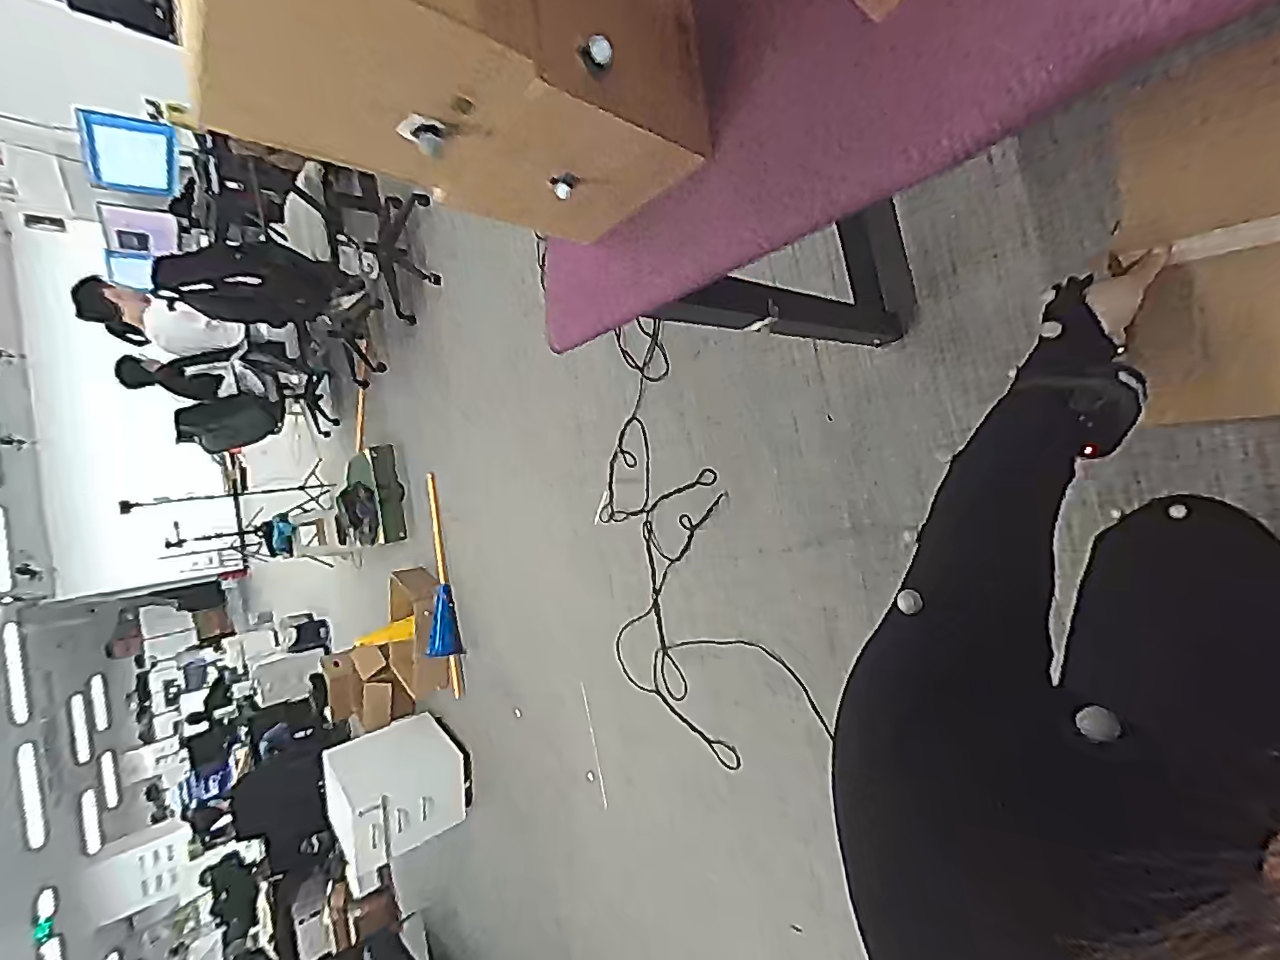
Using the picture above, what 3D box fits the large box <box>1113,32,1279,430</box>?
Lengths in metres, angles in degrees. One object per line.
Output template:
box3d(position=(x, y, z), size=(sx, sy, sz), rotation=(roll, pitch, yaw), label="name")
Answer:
box3d(position=(0.702, -0.223, 0.478), size=(0.408, 0.320, 0.320), rotation=(-3, 91, 44), label="large box")

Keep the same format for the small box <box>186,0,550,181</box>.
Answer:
box3d(position=(-0.176, -0.331, 0.343), size=(0.168, 0.176, 0.179), rotation=(-10, 88, 50), label="small box")
